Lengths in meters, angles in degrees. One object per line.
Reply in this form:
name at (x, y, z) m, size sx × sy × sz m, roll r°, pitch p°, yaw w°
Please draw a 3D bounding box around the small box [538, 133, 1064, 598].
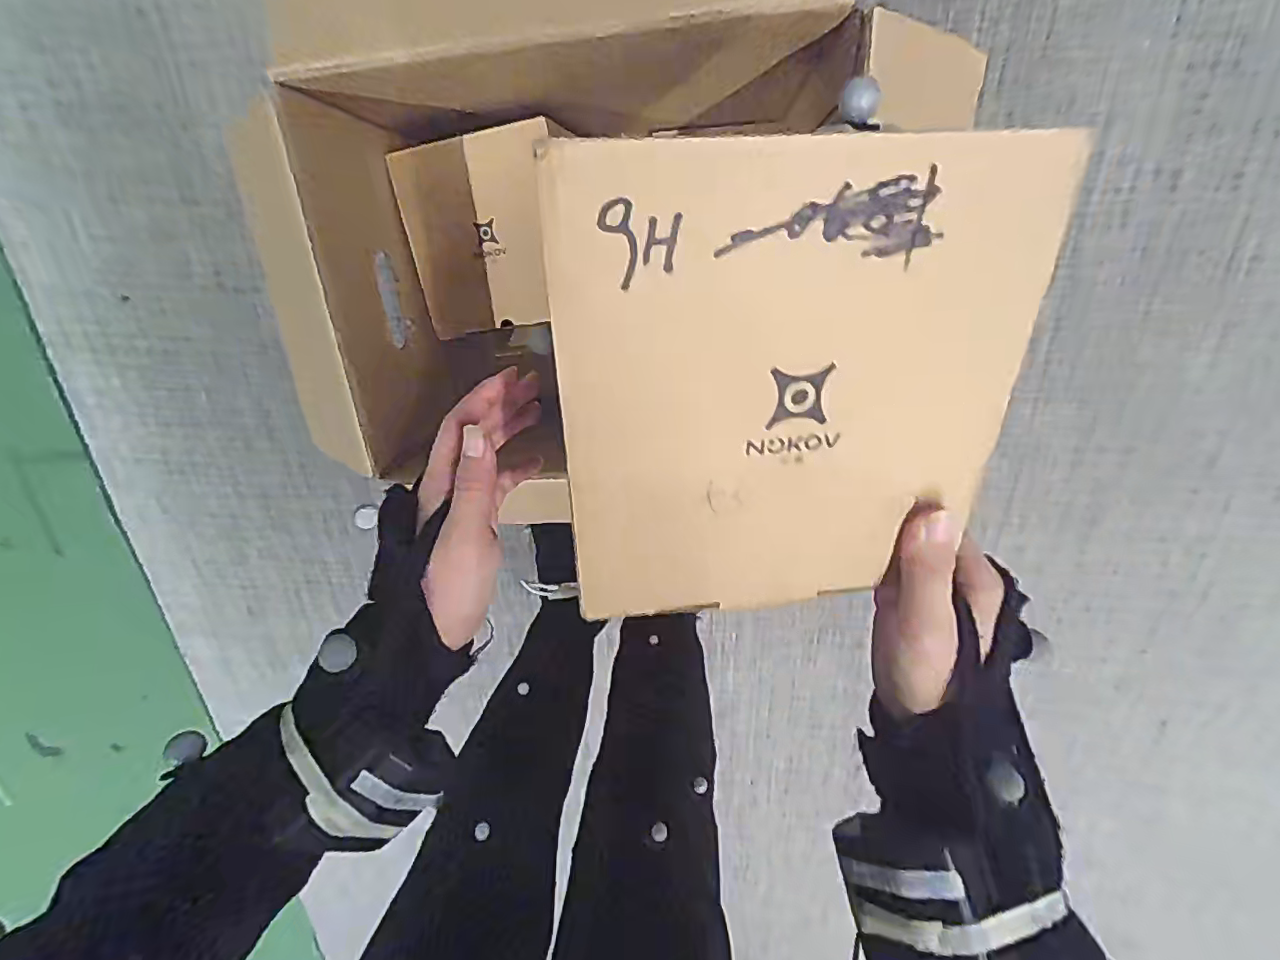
small box at (0.044, -0.067, 0.271) m, size 0.168 × 0.176 × 0.179 m, roll -5°, pitch 120°, yaw -5°
